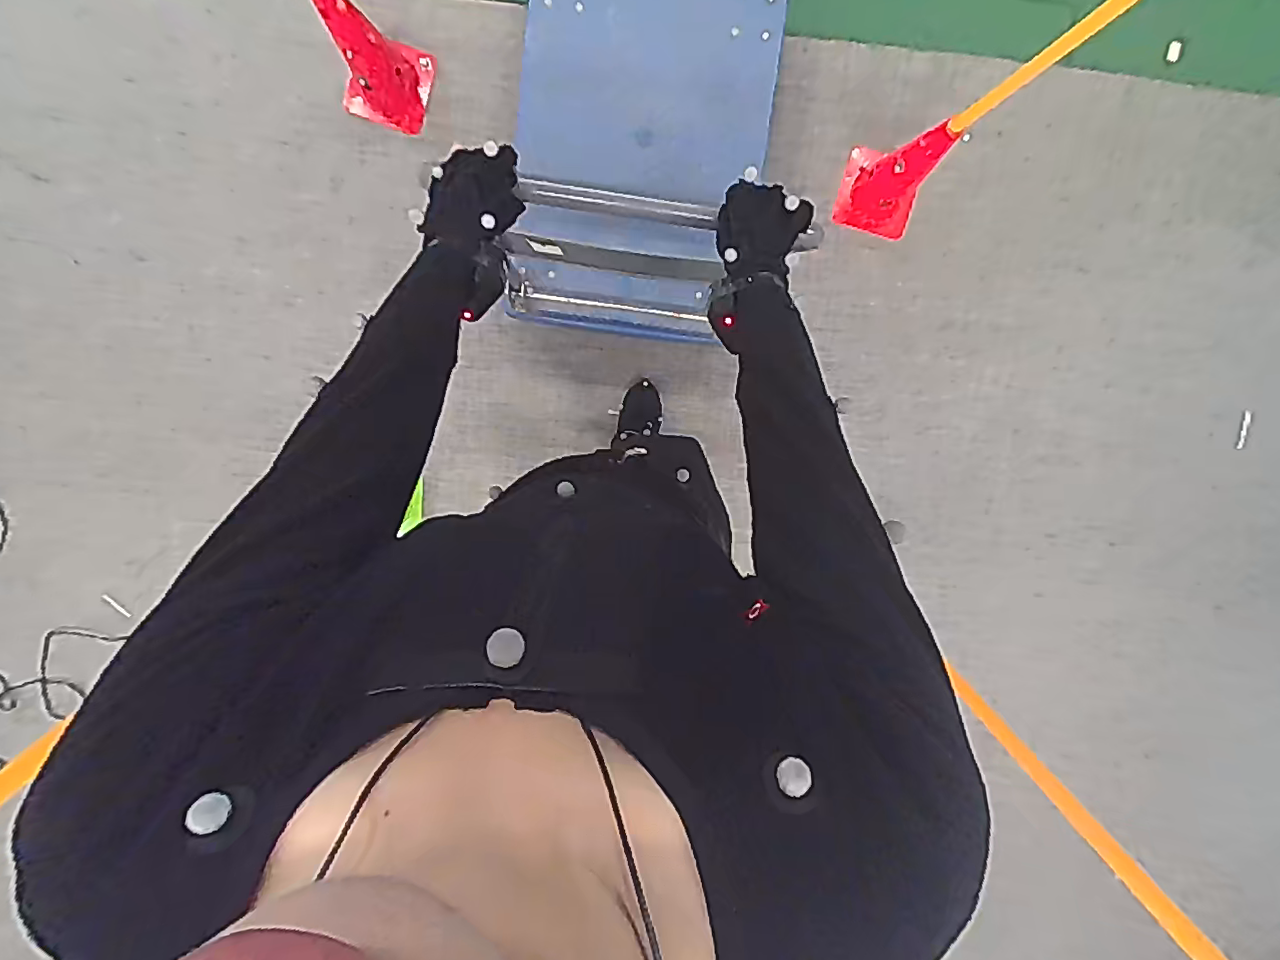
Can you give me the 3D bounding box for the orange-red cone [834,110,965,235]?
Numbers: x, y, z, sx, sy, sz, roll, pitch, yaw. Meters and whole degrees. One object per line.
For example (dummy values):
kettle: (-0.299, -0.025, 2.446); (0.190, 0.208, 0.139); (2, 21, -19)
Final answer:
orange-red cone: (0.630, -0.743, 1.254); (0.198, 0.360, 0.199); (16, 98, -3)
